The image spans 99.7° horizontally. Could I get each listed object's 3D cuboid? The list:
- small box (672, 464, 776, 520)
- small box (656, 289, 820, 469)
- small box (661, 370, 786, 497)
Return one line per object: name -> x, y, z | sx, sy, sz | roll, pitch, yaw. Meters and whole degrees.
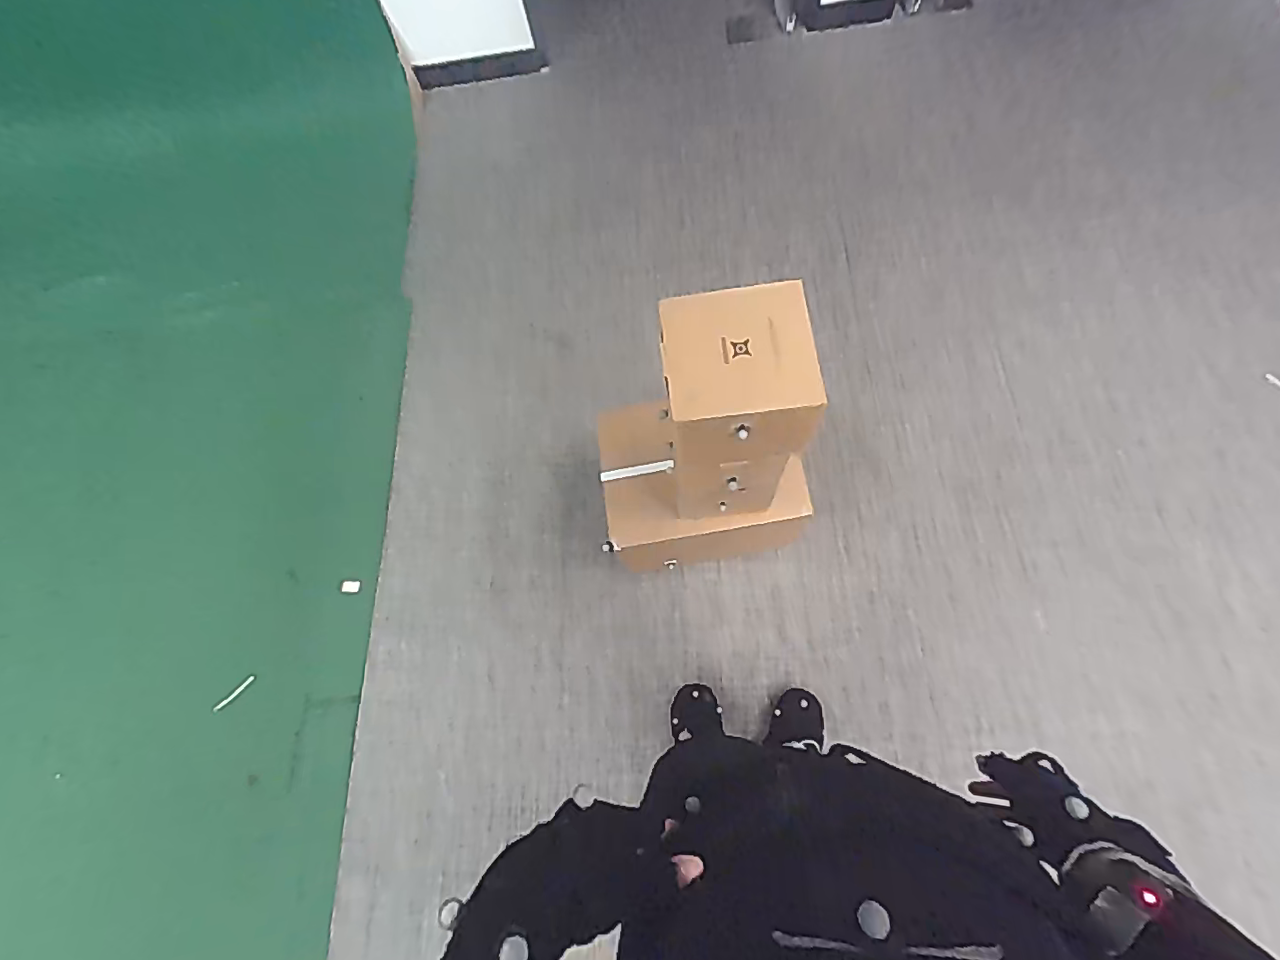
small box -> 0.151, -0.026, 1.025 | 0.179, 0.176, 0.168 | -6, 71, 6
small box -> 0.121, -0.122, 0.715 | 0.179, 0.176, 0.168 | -7, 72, 4
small box -> 0.131, -0.077, 0.872 | 0.168, 0.176, 0.179 | -8, 71, 4
